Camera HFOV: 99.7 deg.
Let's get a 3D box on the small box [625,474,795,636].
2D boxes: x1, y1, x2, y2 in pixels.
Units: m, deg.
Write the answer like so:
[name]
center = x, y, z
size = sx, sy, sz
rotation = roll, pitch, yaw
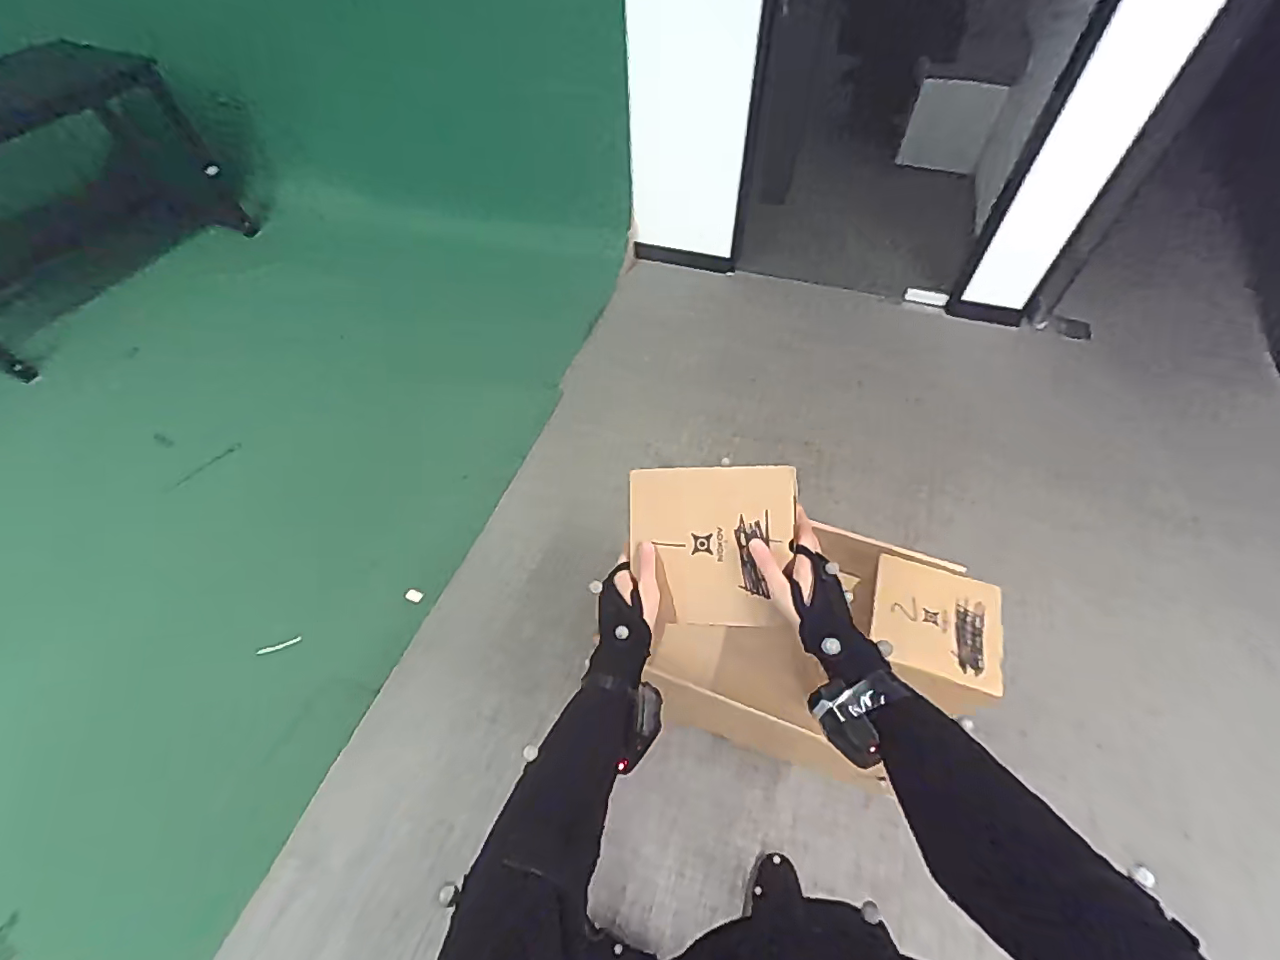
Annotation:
[small box]
center = 0.088, 0.079, 0.638
size = 0.179, 0.176, 0.168
rotation = -1, 85, 15
